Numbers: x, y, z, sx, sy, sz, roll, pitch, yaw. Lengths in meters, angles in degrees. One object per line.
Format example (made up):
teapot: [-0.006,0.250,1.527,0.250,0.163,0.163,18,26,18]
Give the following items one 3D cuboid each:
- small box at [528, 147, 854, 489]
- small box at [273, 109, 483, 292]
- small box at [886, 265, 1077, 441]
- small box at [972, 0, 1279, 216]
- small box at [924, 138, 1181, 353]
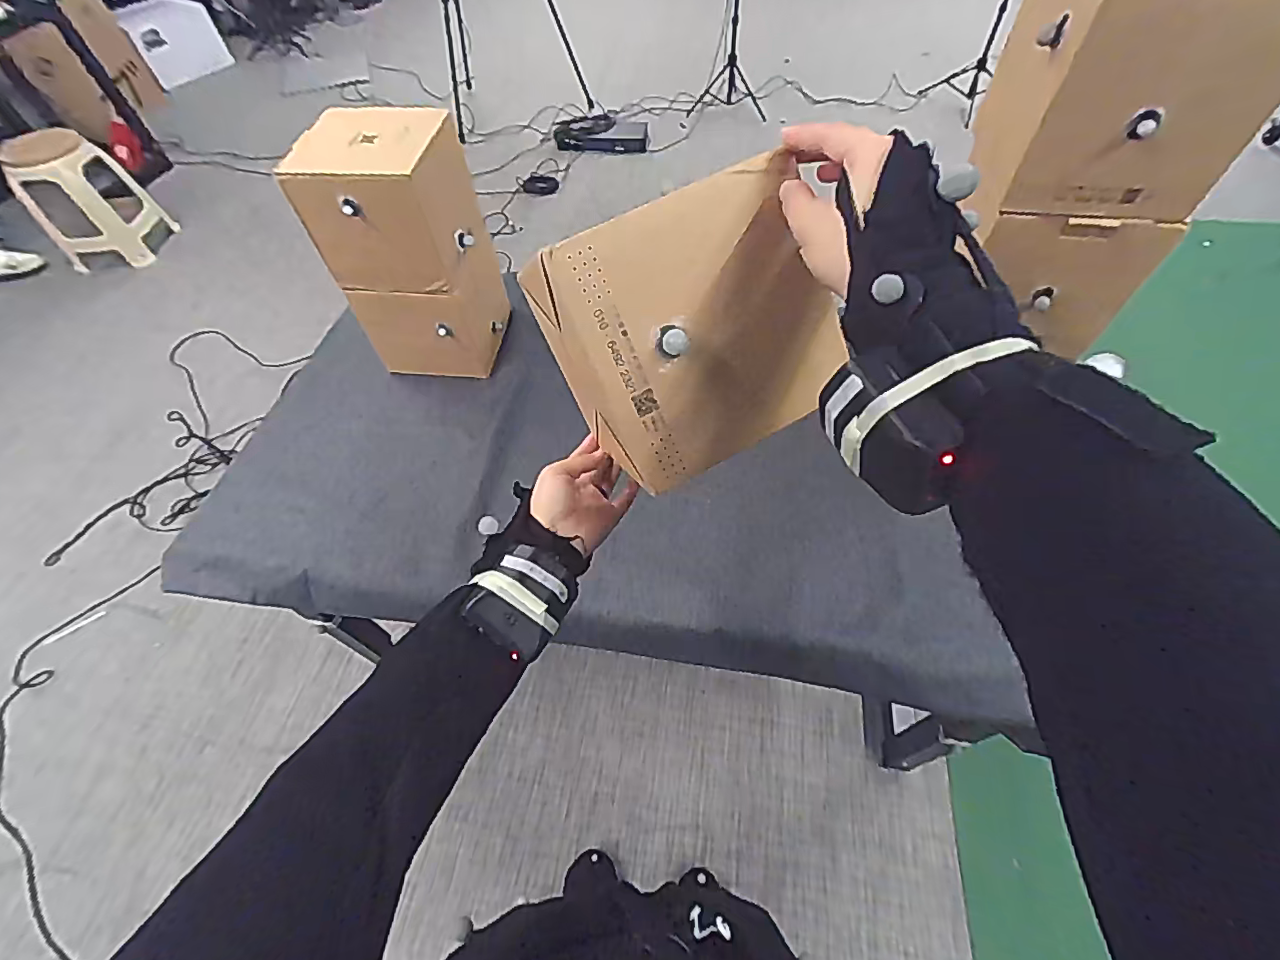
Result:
small box: [0.024,-0.116,0.416,0.176,0.168,0.179,-28,22,-7]
small box: [-0.339,-0.378,0.741,0.179,0.176,0.168,4,58,4]
small box: [0.459,-0.181,0.762,0.168,0.176,0.179,8,57,9]
small box: [0.431,-0.363,0.488,0.168,0.176,0.179,8,57,8]
small box: [0.447,-0.270,0.624,0.168,0.176,0.179,9,58,9]
